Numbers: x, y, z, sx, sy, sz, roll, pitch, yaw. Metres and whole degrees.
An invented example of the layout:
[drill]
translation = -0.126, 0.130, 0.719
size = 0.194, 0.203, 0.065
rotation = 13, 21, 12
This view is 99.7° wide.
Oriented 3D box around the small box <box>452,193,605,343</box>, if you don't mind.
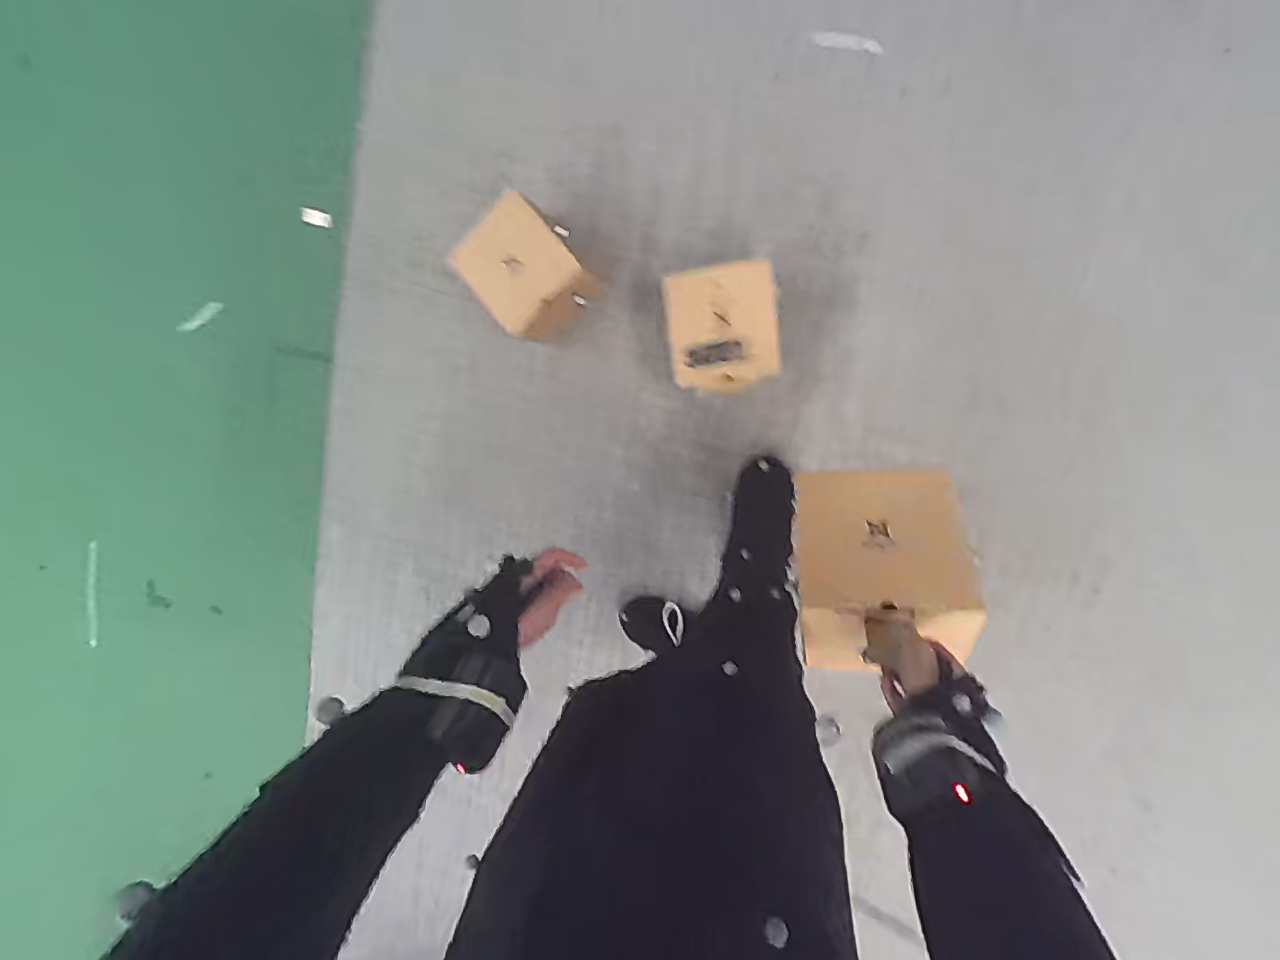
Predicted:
[small box]
translation = -0.186, -0.361, 0.964
size = 0.168, 0.176, 0.179
rotation = -41, 89, 14
